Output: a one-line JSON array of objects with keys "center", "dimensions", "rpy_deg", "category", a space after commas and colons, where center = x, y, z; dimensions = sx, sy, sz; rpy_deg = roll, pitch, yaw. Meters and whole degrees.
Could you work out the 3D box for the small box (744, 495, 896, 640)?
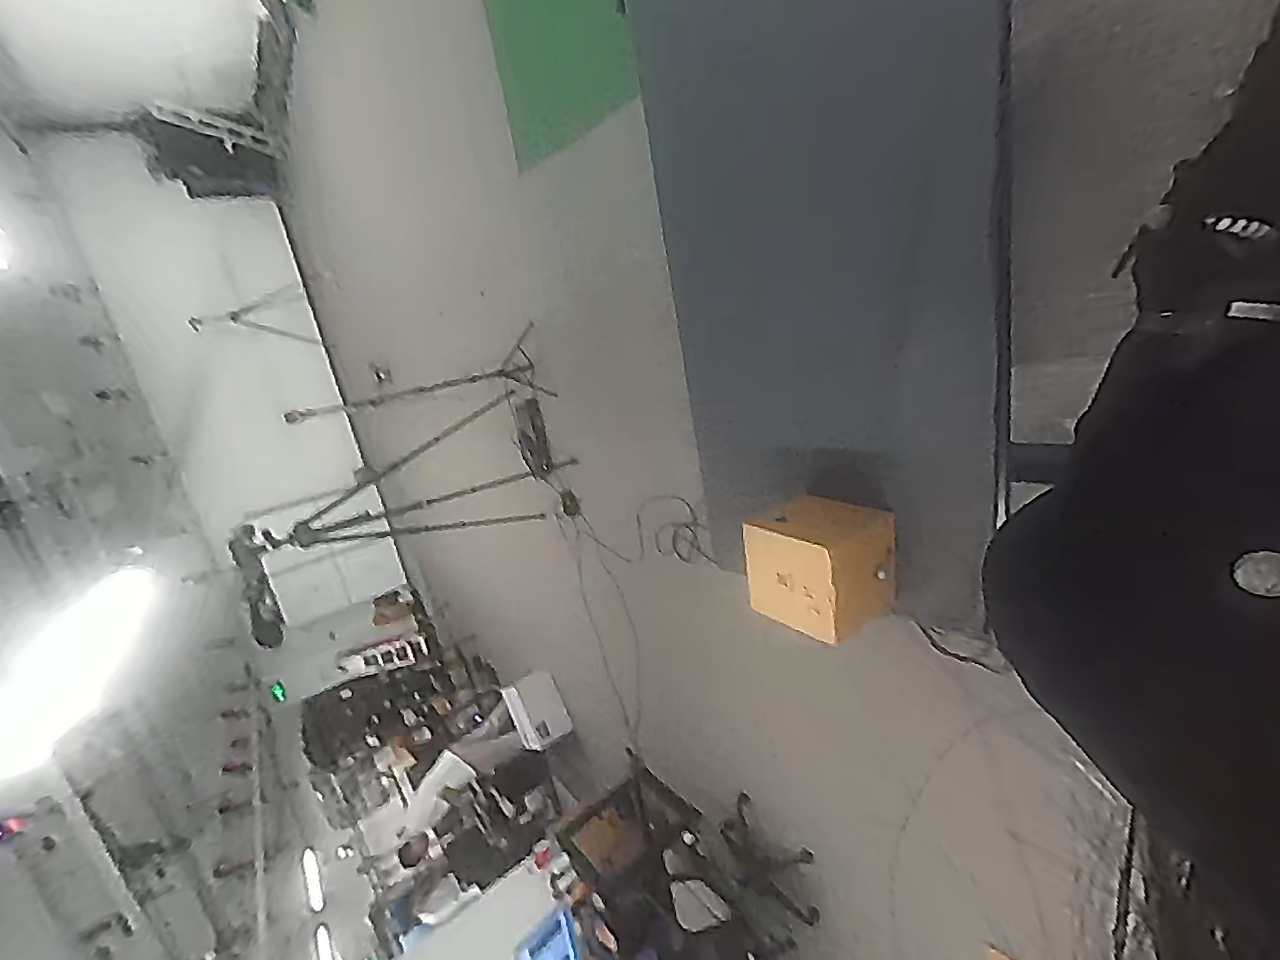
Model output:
[{"center": [0.300, 0.133, 0.907], "dimensions": [0.179, 0.176, 0.168], "rpy_deg": [14, 118, 53], "category": "small box"}]
